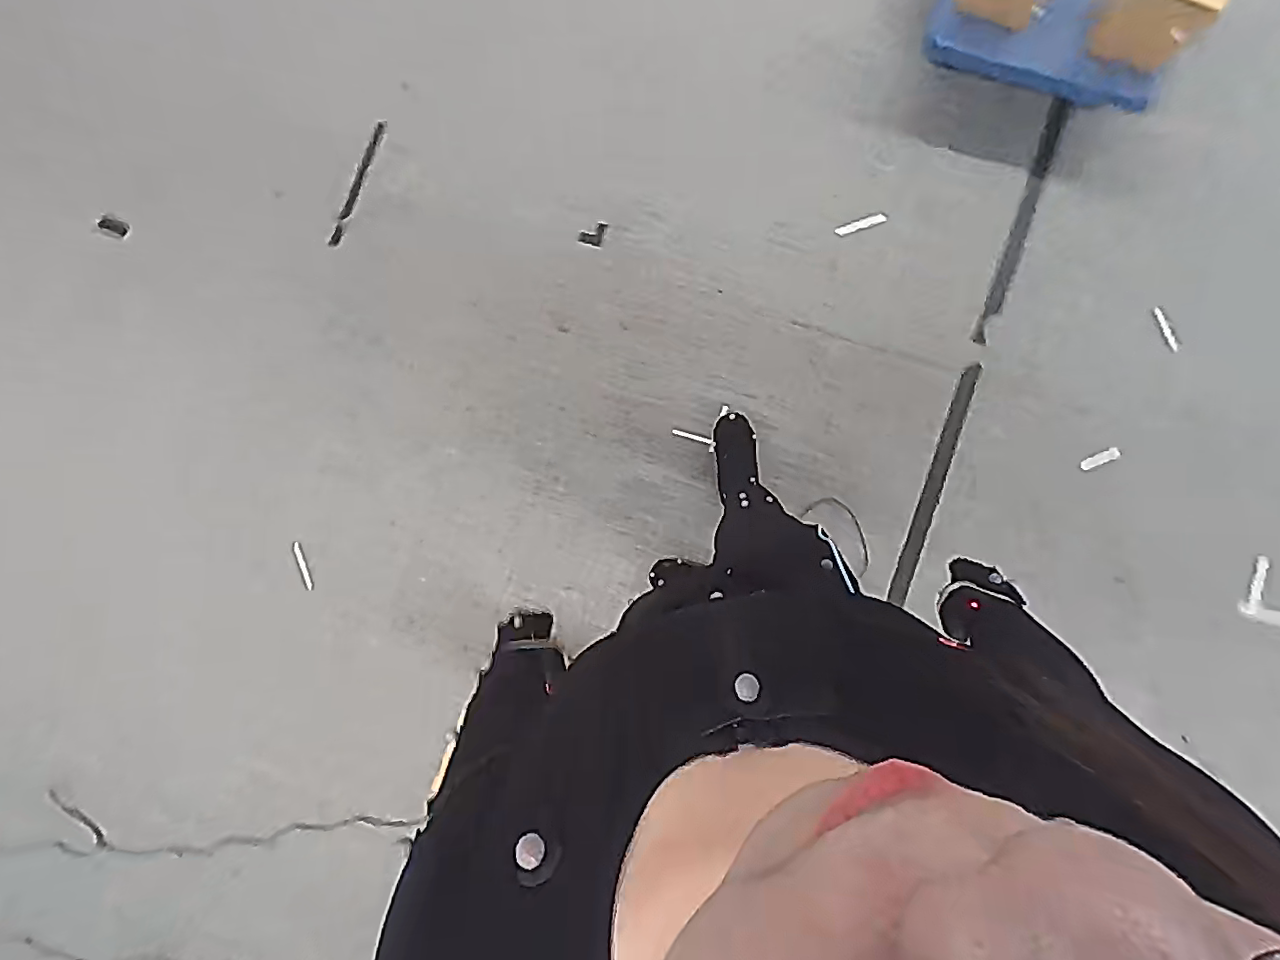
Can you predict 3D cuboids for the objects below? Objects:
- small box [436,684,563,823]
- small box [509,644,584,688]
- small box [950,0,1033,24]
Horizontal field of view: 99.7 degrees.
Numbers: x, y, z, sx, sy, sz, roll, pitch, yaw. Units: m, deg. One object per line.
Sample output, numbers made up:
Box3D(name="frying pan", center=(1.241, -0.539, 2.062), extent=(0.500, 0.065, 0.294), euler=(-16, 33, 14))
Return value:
Box3D(name="small box", center=(-0.275, 0.543, 1.102), extent=(0.179, 0.176, 0.168), euler=(21, 90, 5))
Box3D(name="small box", center=(-0.263, 0.555, 1.430), extent=(0.179, 0.176, 0.168), euler=(22, 89, 4))
Box3D(name="small box", center=(0.869, -1.221, 1.256), extent=(0.179, 0.176, 0.168), euler=(23, 88, 4))
